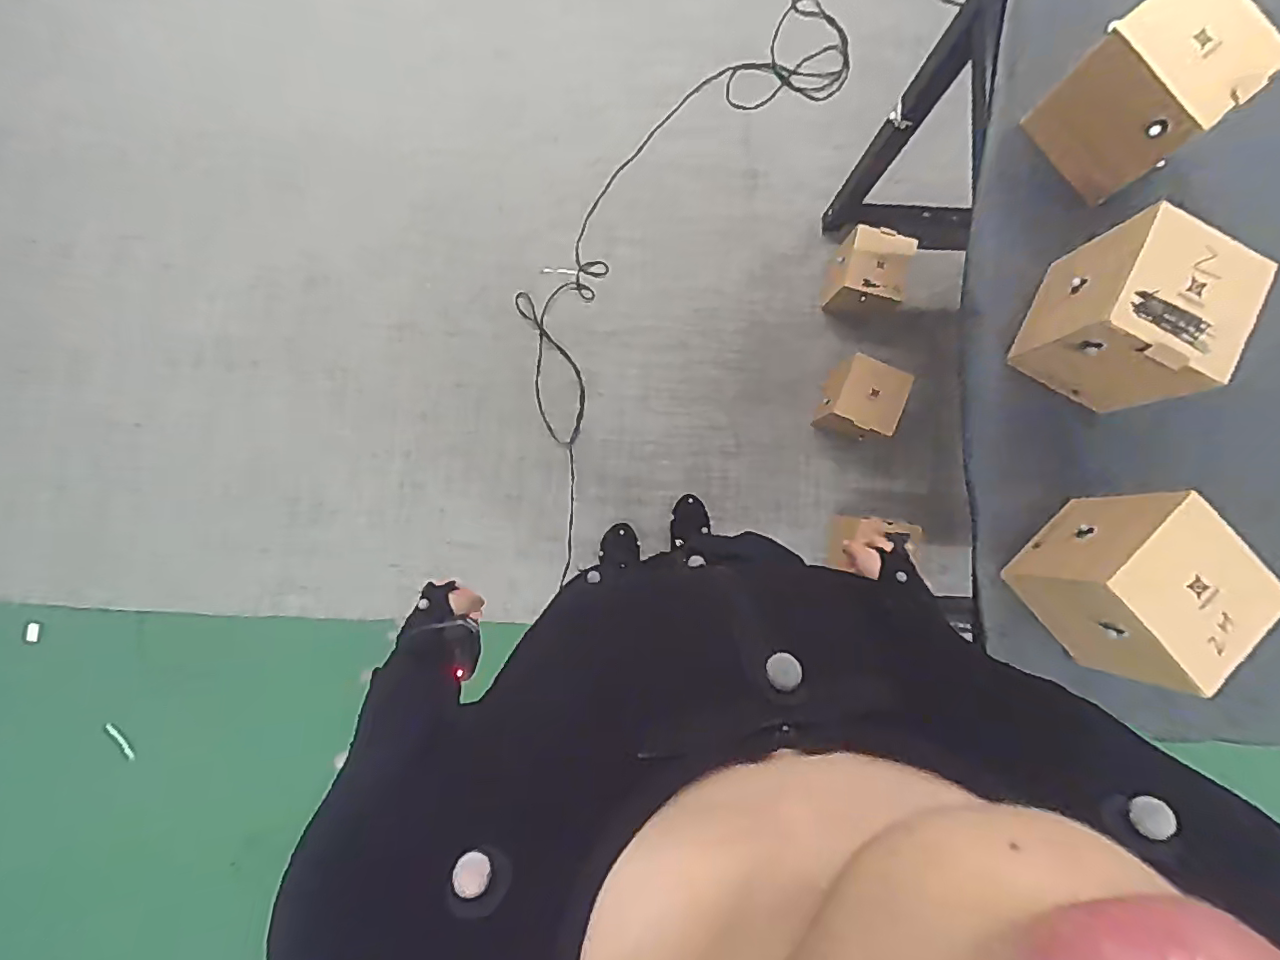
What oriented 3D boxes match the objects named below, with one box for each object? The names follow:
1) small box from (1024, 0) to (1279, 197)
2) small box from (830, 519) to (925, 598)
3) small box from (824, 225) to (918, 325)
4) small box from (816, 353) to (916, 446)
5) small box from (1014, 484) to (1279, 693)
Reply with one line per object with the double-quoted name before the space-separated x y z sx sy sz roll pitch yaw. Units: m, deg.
"small box" 0.692 -0.541 0.745 0.168 0.176 0.179 -40 88 -4
"small box" 0.613 0.199 1.413 0.168 0.176 0.179 8 86 -1
"small box" 0.622 -0.551 1.473 0.168 0.176 0.179 15 84 0
"small box" 0.593 -0.206 1.445 0.168 0.176 0.179 23 84 -1
"small box" 0.634 0.129 0.685 0.168 0.176 0.179 -41 88 -7
